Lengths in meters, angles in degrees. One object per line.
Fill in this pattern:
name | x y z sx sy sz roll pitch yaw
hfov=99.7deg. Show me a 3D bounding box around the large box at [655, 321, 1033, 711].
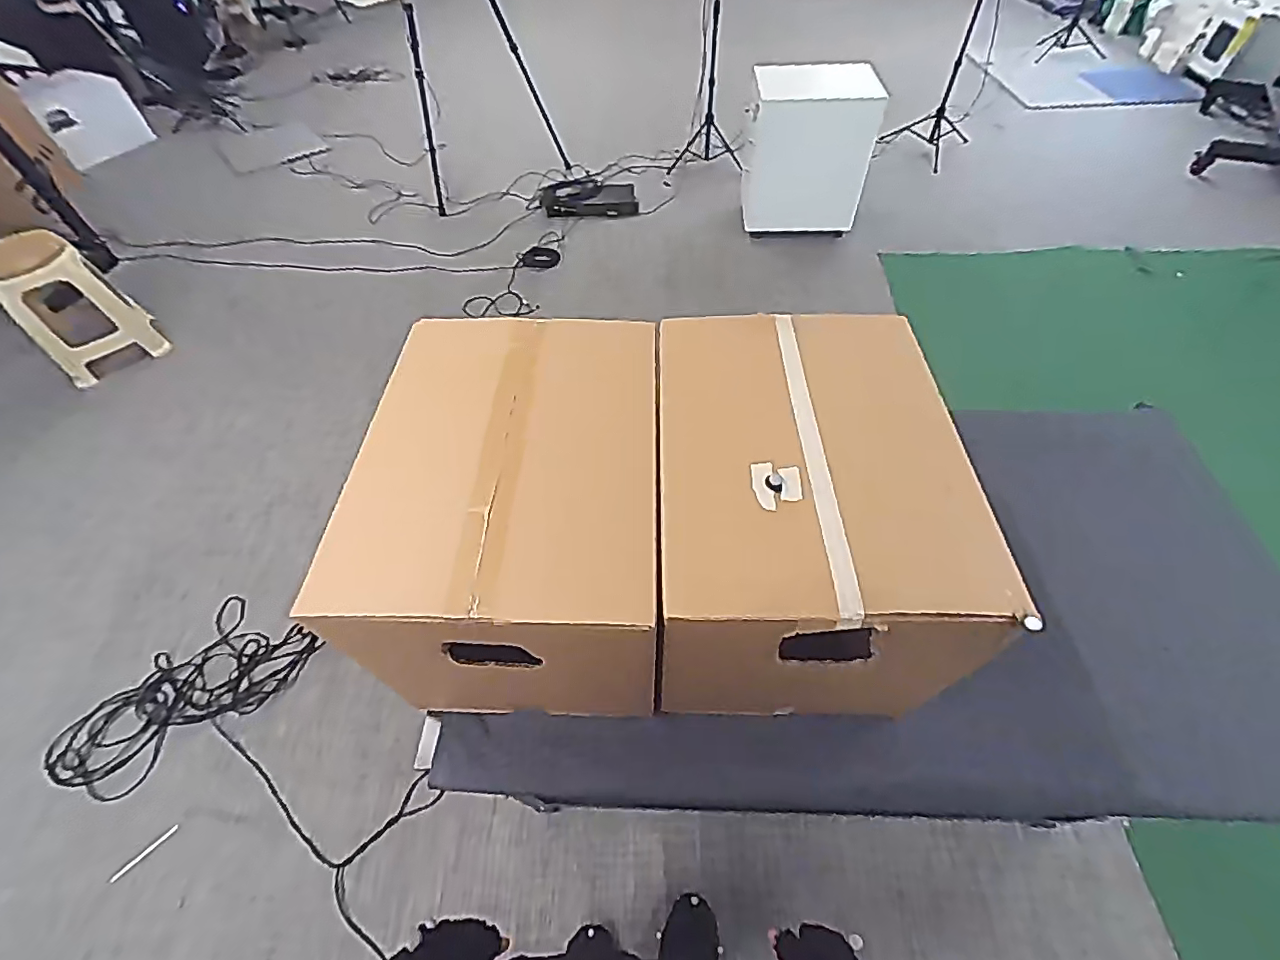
large box | 0.180 0.048 0.691 0.320 0.320 0.408 -1 54 2
